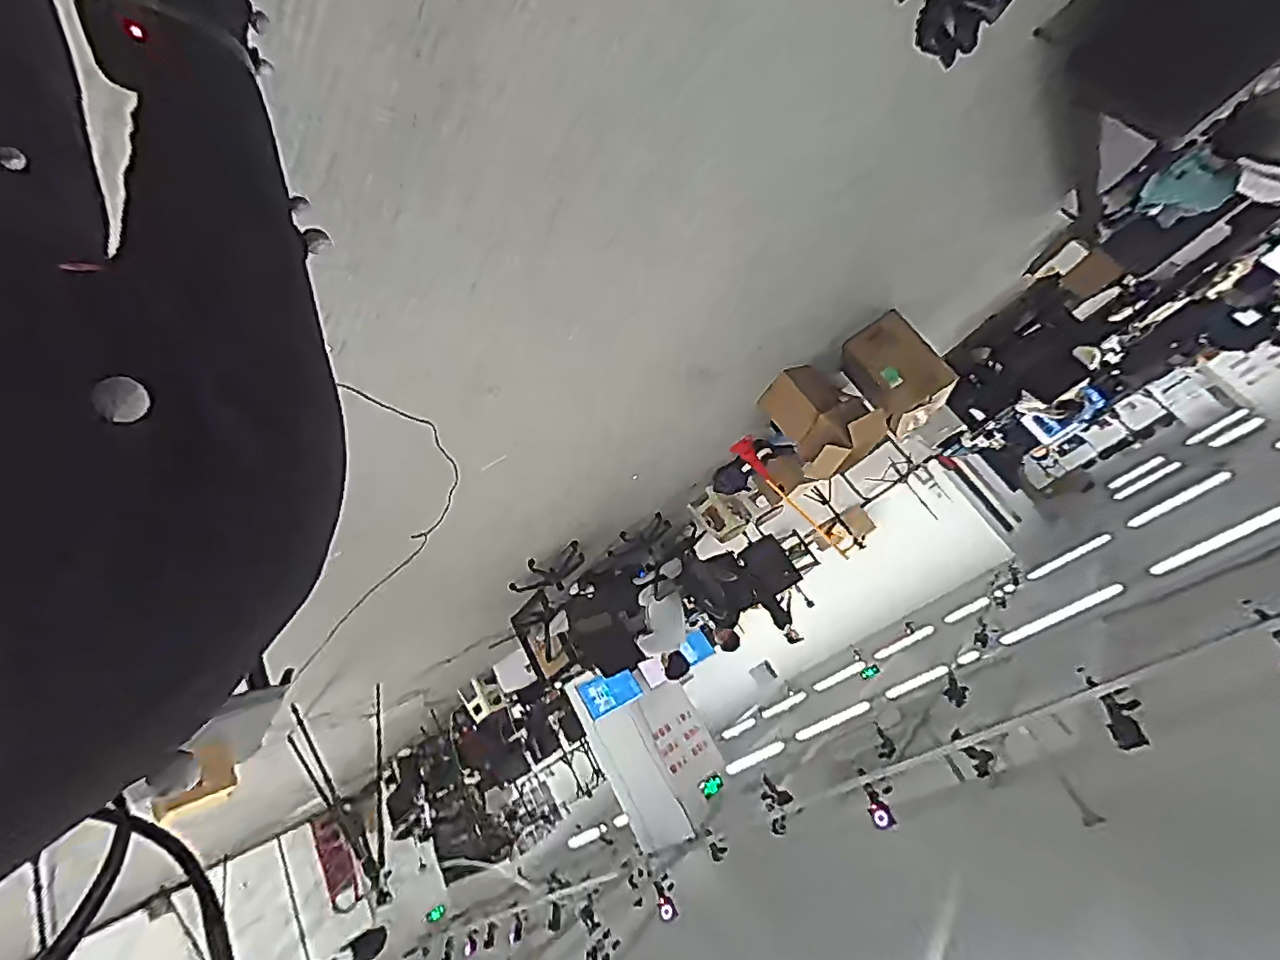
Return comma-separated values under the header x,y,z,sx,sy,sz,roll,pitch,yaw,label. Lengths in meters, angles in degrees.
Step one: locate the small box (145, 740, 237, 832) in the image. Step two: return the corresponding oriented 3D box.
x,y,z,sx,sy,sz,roll,pitch,yaw,label
-1.386,0.935,1.667,0.179,0.176,0.168,-1,142,-52,small box
